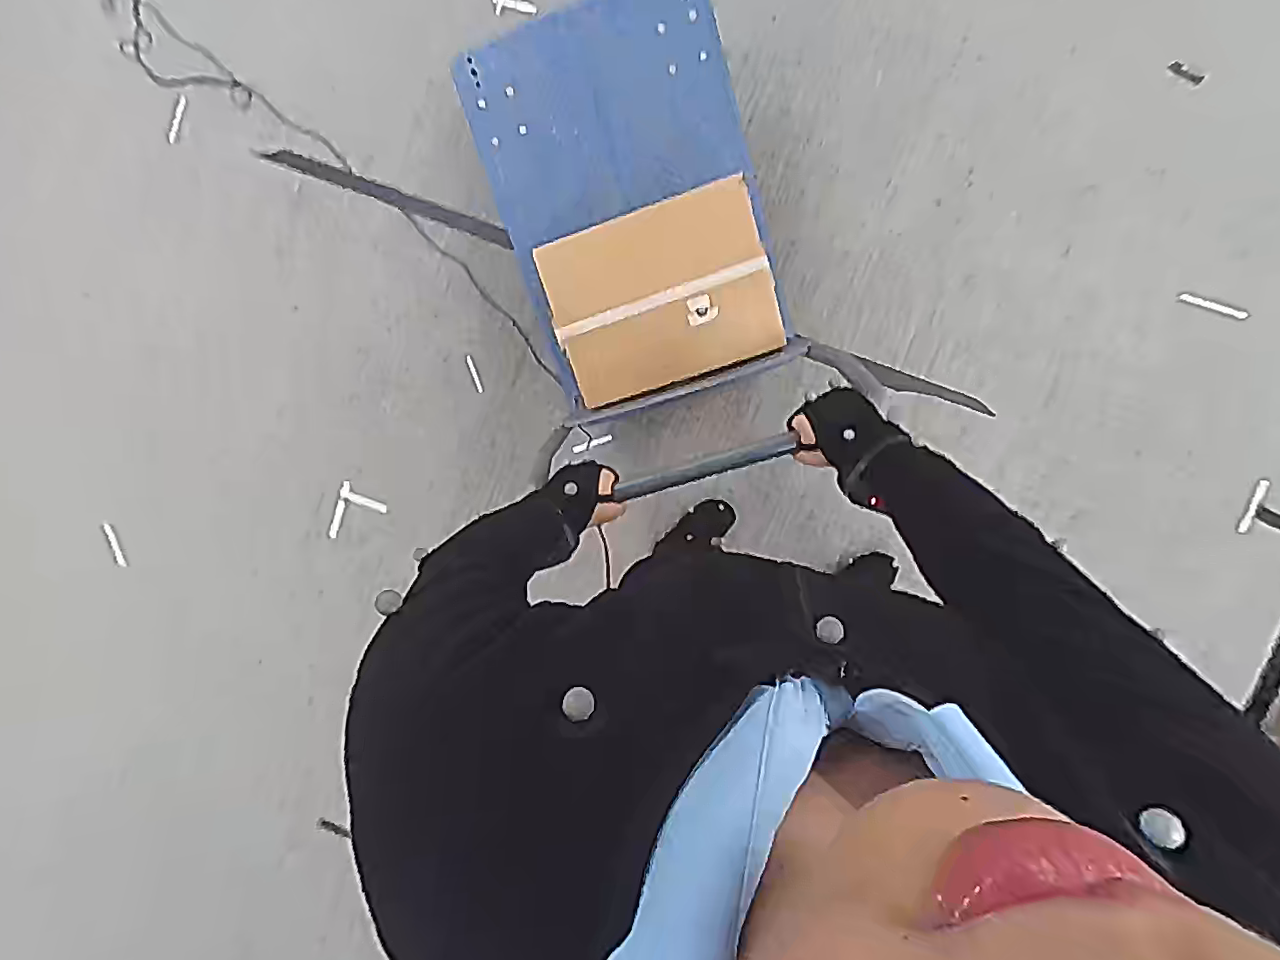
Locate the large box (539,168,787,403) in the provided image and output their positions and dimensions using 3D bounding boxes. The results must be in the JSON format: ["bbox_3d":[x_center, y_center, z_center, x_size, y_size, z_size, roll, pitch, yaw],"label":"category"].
[{"bbox_3d":[0.051,-0.390,1.162,0.408,0.320,0.320,-18,104,7],"label":"large box"}]
